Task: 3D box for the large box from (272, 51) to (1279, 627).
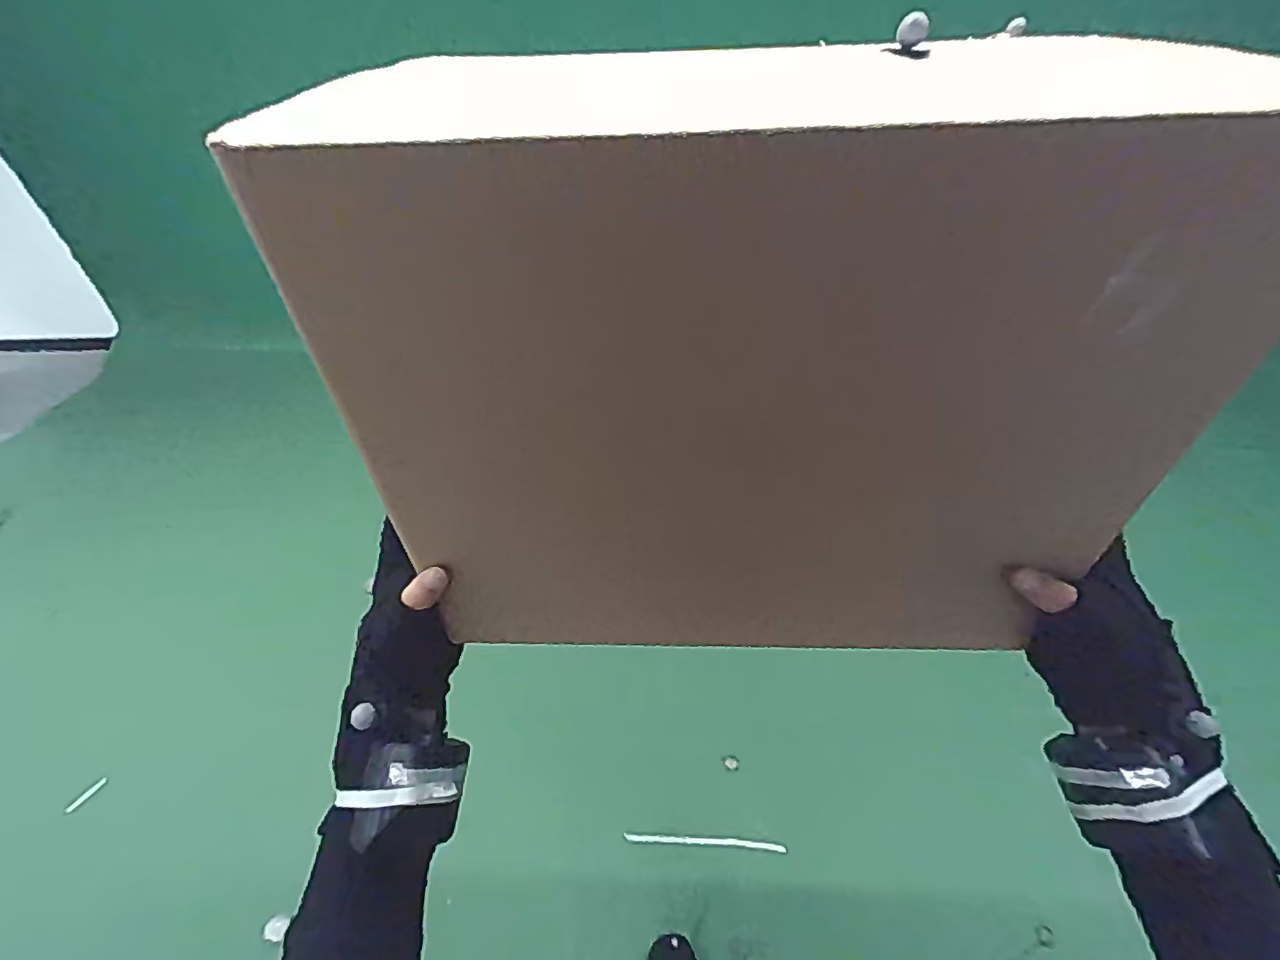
[{"bbox_3d":[0.068,-0.106,0.396,0.408,0.320,0.320,0,43,1],"label":"large box"}]
